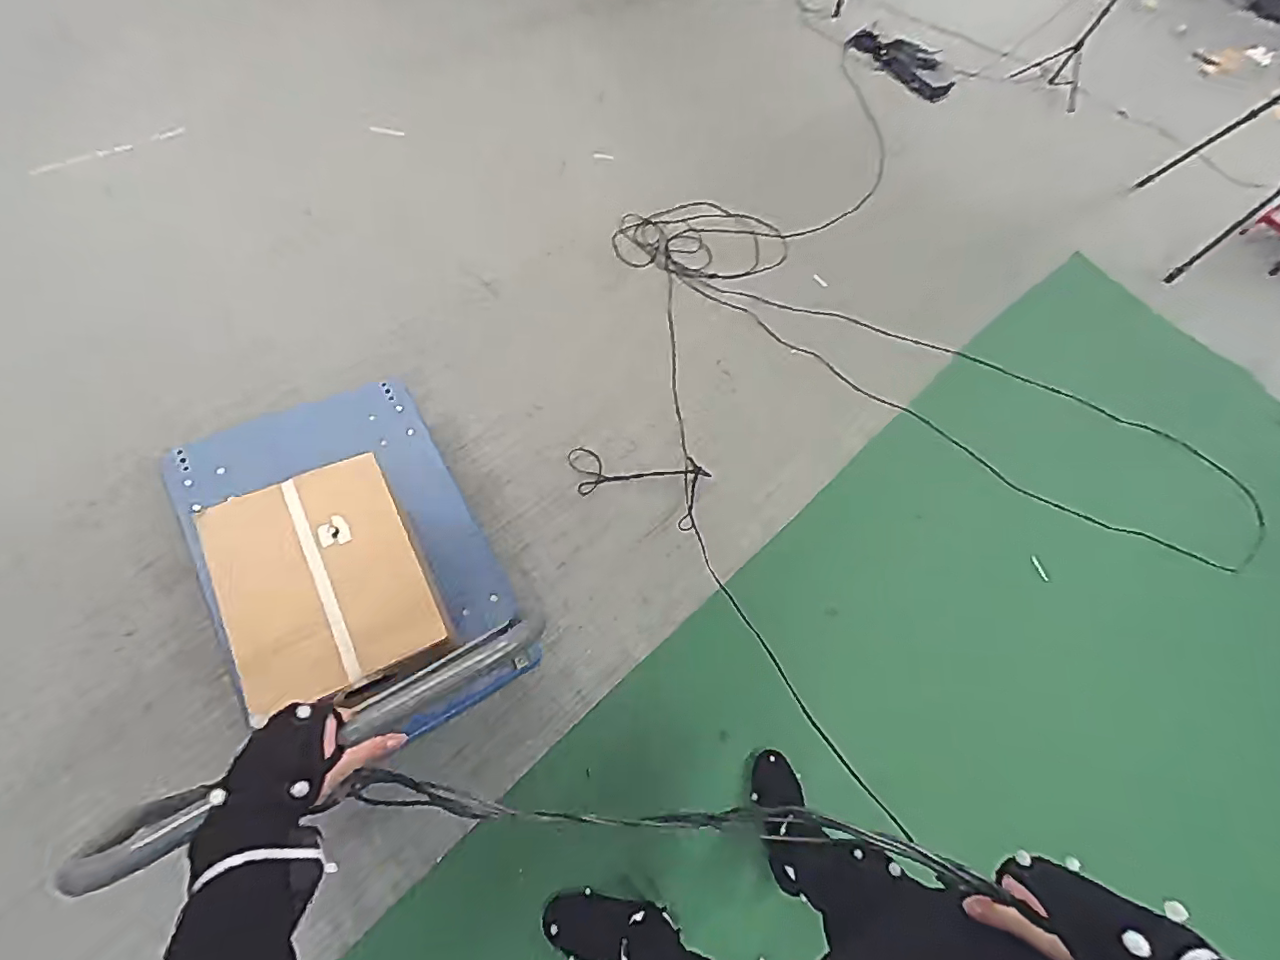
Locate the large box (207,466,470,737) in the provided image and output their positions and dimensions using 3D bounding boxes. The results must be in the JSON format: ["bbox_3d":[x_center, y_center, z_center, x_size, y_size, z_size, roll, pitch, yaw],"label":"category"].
[{"bbox_3d":[-0.581,0.253,1.101,0.320,0.320,0.408,-23,71,-21],"label":"large box"}]
